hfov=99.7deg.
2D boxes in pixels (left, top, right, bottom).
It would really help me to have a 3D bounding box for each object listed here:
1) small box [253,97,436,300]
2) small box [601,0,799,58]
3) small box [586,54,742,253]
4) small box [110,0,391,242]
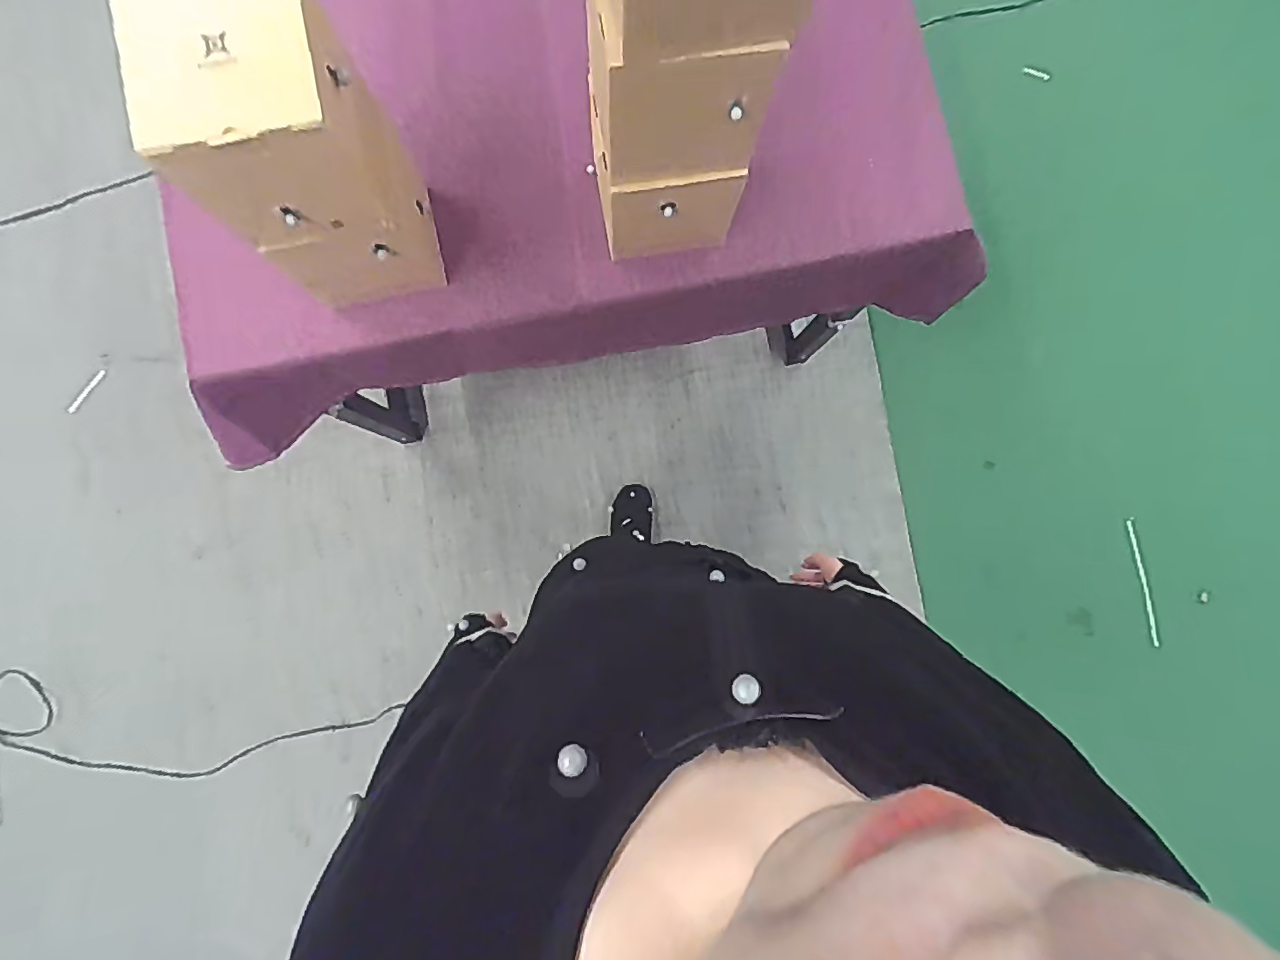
[{"bbox_3d":[-0.389,-0.364,0.727,0.179,0.176,0.168,-12,85,-4],"label":"small box"},{"bbox_3d":[0.050,-0.484,0.427,0.179,0.176,0.168,-12,85,-4],"label":"small box"},{"bbox_3d":[0.027,-0.438,0.751,0.179,0.176,0.168,-10,86,-4],"label":"small box"},{"bbox_3d":[-0.386,-0.383,0.565,0.168,0.176,0.179,-12,87,-4],"label":"small box"}]
